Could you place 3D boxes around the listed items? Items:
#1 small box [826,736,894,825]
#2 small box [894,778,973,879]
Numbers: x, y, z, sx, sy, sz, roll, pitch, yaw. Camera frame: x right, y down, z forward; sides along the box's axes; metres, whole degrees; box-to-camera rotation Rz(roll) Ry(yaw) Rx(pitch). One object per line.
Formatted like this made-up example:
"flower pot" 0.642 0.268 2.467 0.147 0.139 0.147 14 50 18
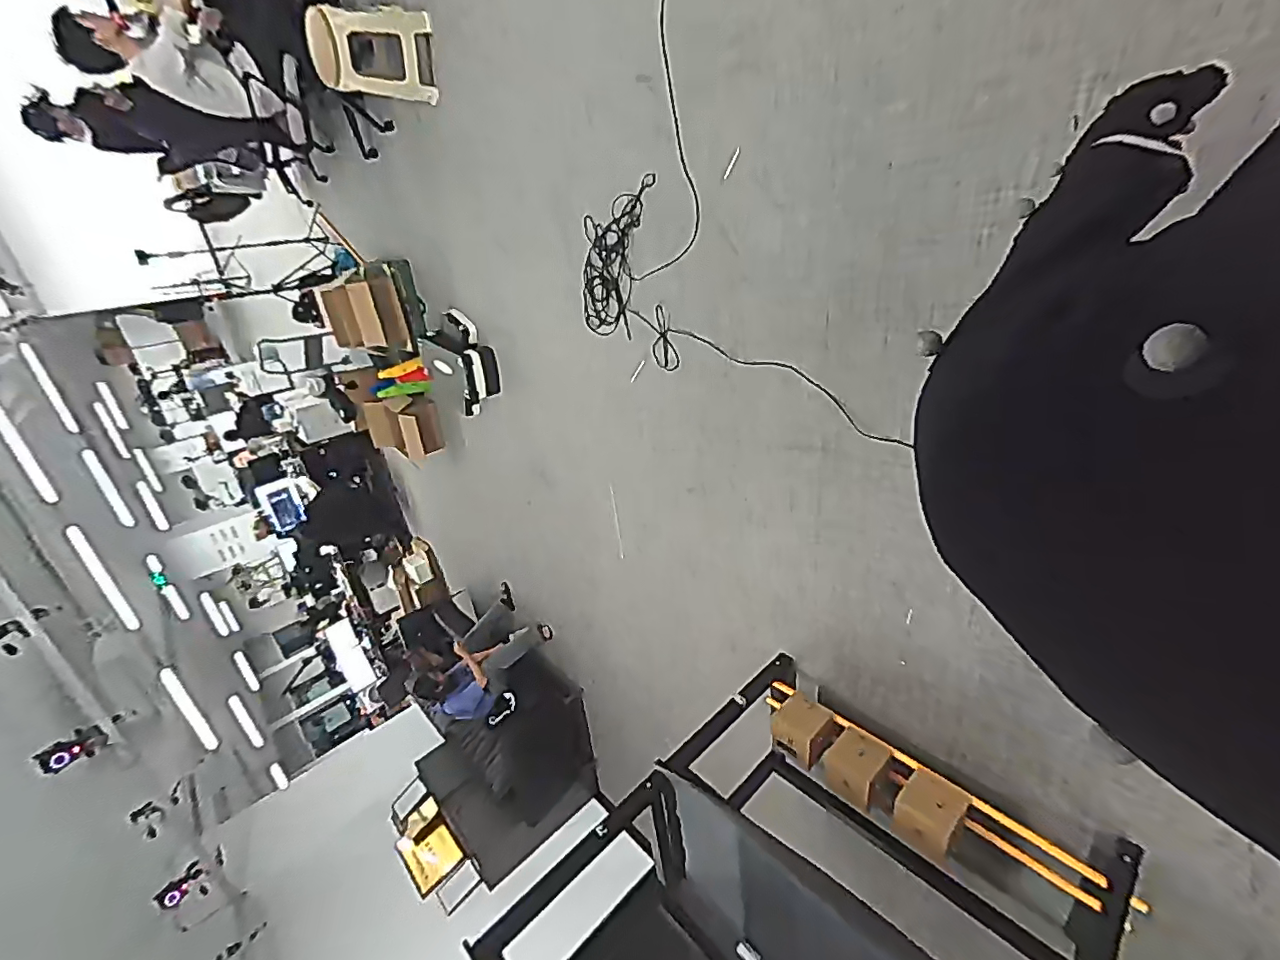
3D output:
"small box" 0.780 1.054 1.913 0.168 0.176 0.179 19 124 45
"small box" 0.945 1.109 1.738 0.168 0.176 0.179 22 126 45
